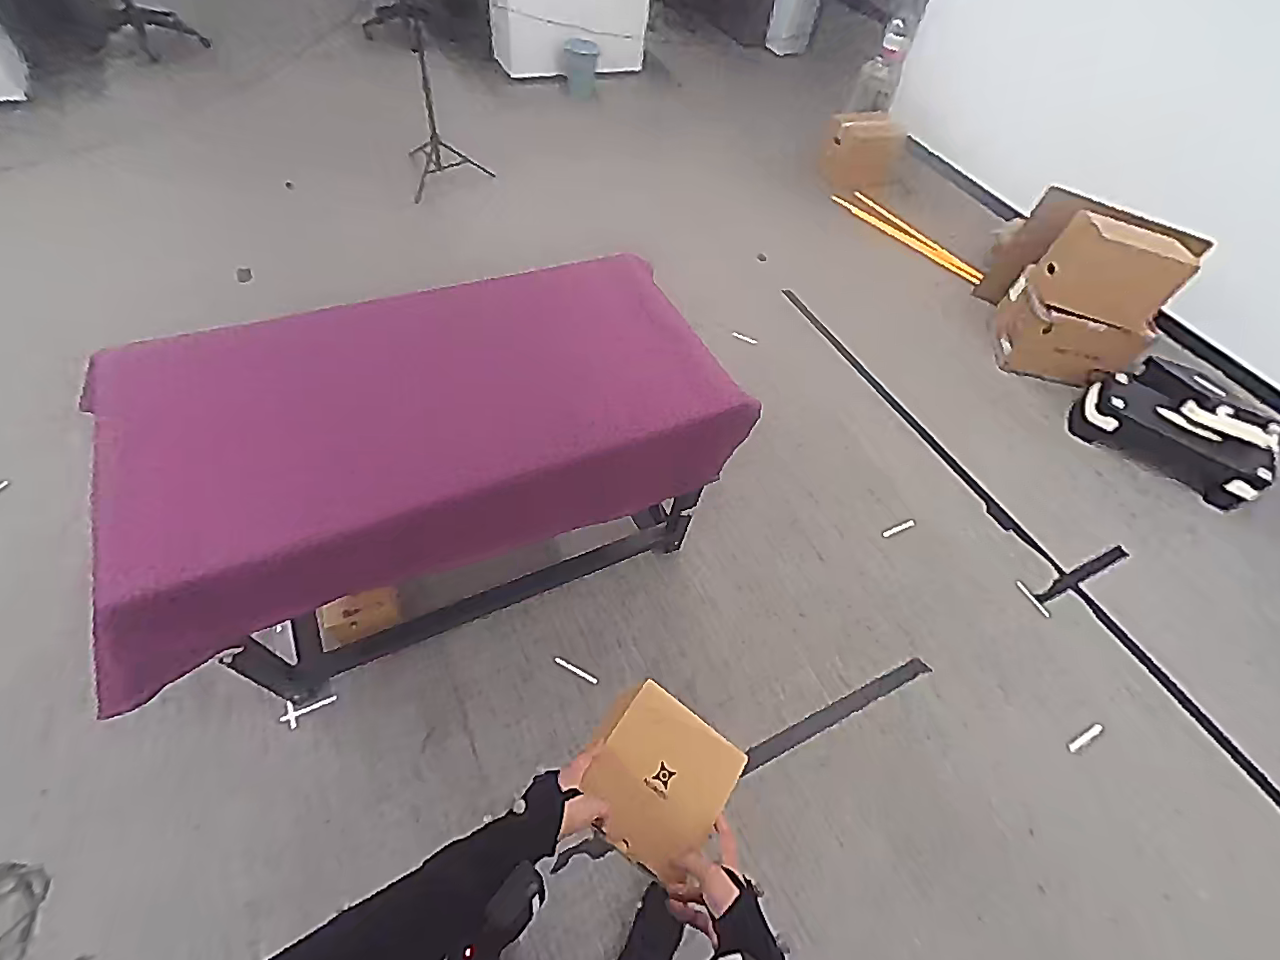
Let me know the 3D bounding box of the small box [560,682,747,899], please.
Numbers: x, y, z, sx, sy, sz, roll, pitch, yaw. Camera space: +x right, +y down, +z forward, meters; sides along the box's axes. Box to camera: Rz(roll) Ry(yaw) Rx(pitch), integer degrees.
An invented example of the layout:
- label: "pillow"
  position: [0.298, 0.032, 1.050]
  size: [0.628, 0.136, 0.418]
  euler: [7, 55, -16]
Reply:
- label: "small box"
  position: [0.008, 0.403, 0.728]
  size: [0.168, 0.176, 0.179]
  euler: [37, 61, 5]
